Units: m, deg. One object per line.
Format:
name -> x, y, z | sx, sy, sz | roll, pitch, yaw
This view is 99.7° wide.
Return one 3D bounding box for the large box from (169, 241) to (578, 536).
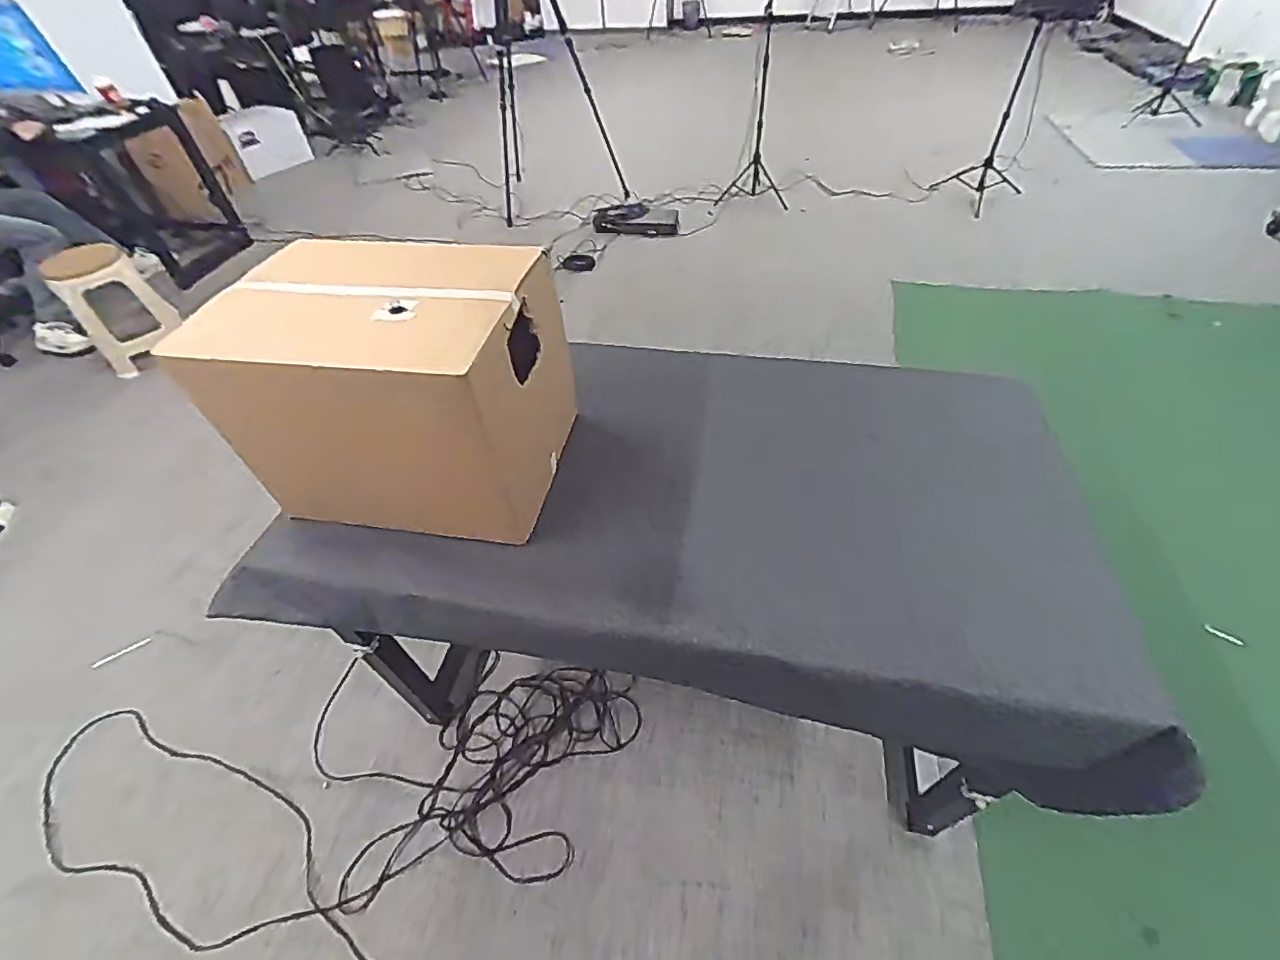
large box -> -0.336, -0.140, 0.820 | 0.408, 0.320, 0.320 | 6, 49, 7
